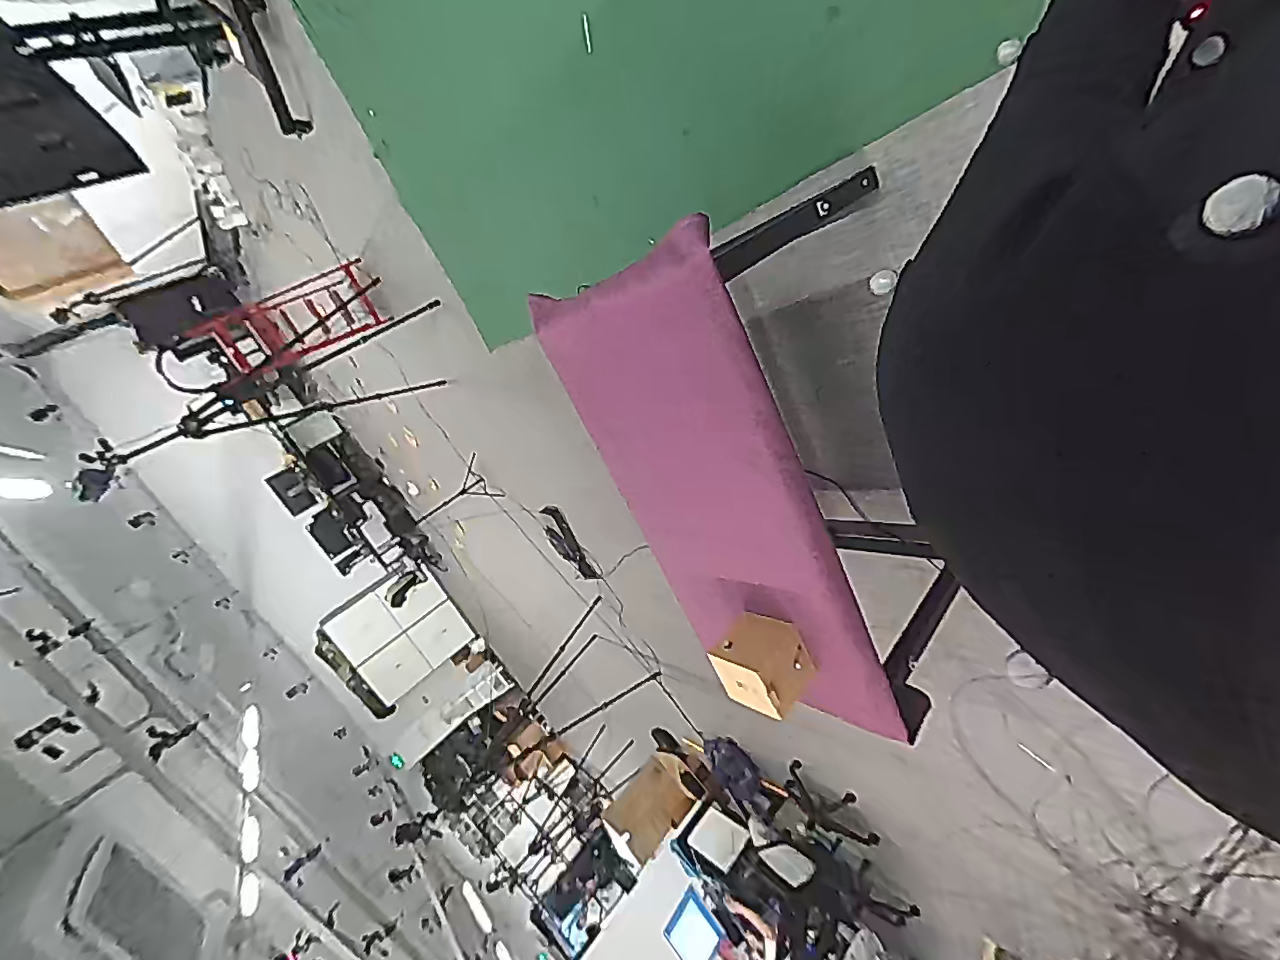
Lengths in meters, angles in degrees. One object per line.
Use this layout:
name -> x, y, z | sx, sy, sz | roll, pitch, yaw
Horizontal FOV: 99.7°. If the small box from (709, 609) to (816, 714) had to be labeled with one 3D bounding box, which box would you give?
small box -> 0.317, 0.455, 1.390 | 0.179, 0.176, 0.168 | 1, 124, 53
